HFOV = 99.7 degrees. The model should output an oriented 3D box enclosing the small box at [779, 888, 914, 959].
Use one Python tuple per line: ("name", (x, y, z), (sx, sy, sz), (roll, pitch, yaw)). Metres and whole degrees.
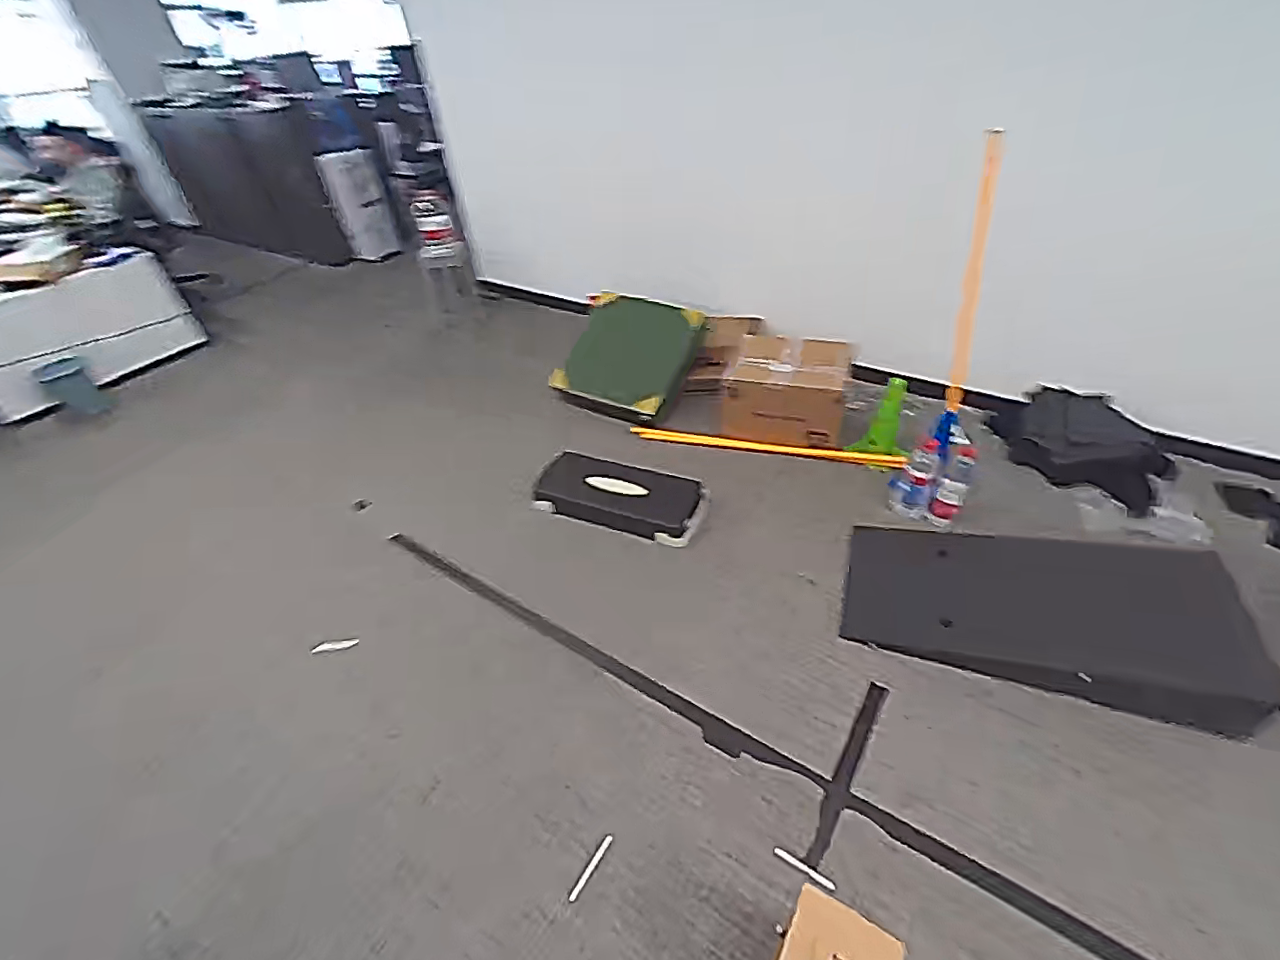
("small box", (0.332, 0.845, 0.915), (0.179, 0.176, 0.168), (20, 48, 27))
